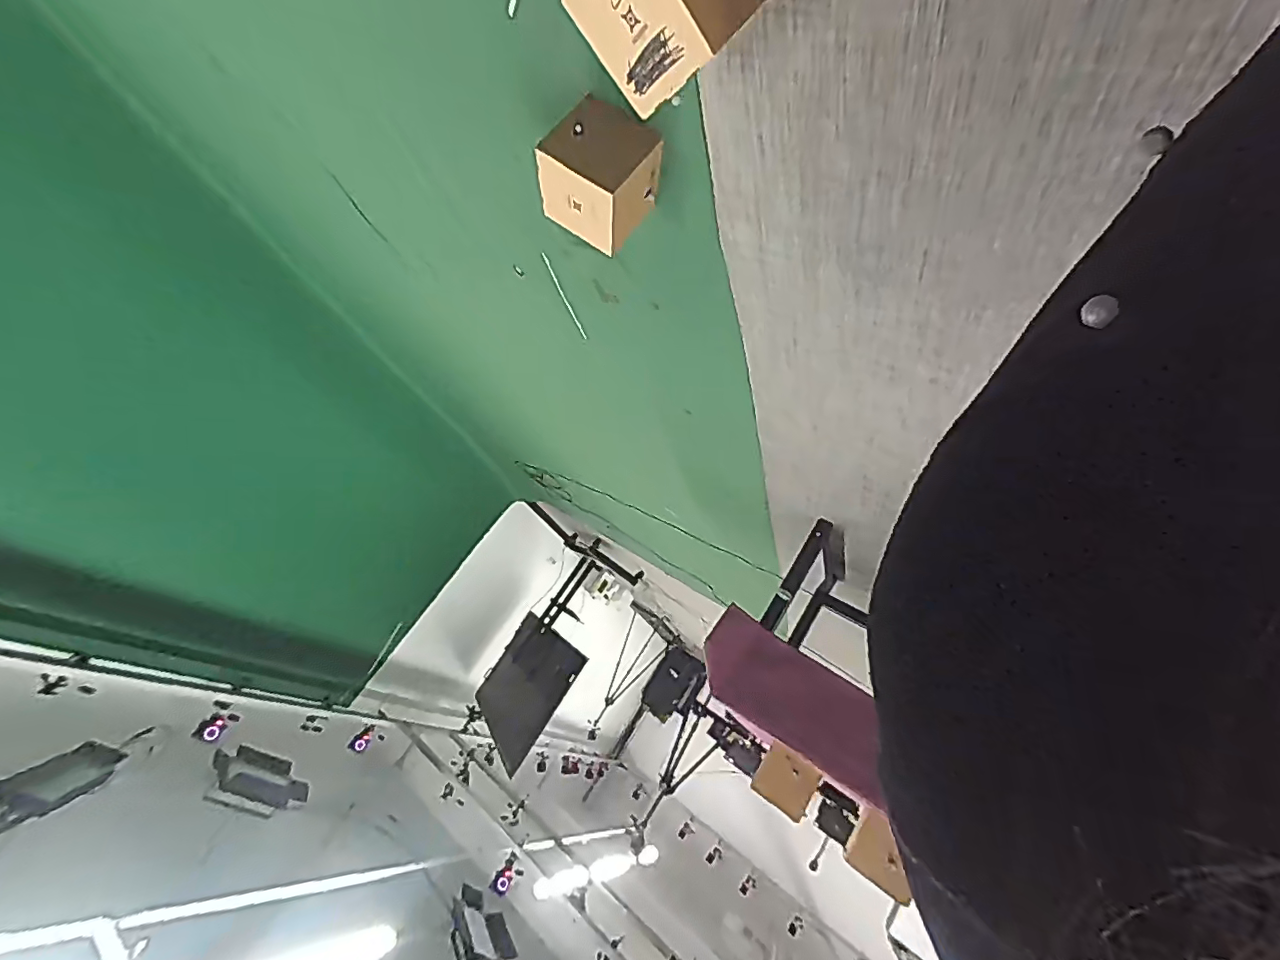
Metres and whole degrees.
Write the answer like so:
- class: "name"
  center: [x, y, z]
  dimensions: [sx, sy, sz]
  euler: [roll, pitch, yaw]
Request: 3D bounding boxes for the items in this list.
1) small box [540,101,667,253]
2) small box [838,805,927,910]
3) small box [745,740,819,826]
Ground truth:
- class: "small box"
  center: [-0.072, -0.598, 1.065]
  dimensions: [0.179, 0.176, 0.168]
  euler: [35, 164, 6]
- class: "small box"
  center: [0.688, 1.065, 1.540]
  dimensions: [0.179, 0.176, 0.168]
  euler: [26, 161, 27]
- class: "small box"
  center: [0.448, 0.945, 1.699]
  dimensions: [0.168, 0.176, 0.179]
  euler: [27, 161, 27]
